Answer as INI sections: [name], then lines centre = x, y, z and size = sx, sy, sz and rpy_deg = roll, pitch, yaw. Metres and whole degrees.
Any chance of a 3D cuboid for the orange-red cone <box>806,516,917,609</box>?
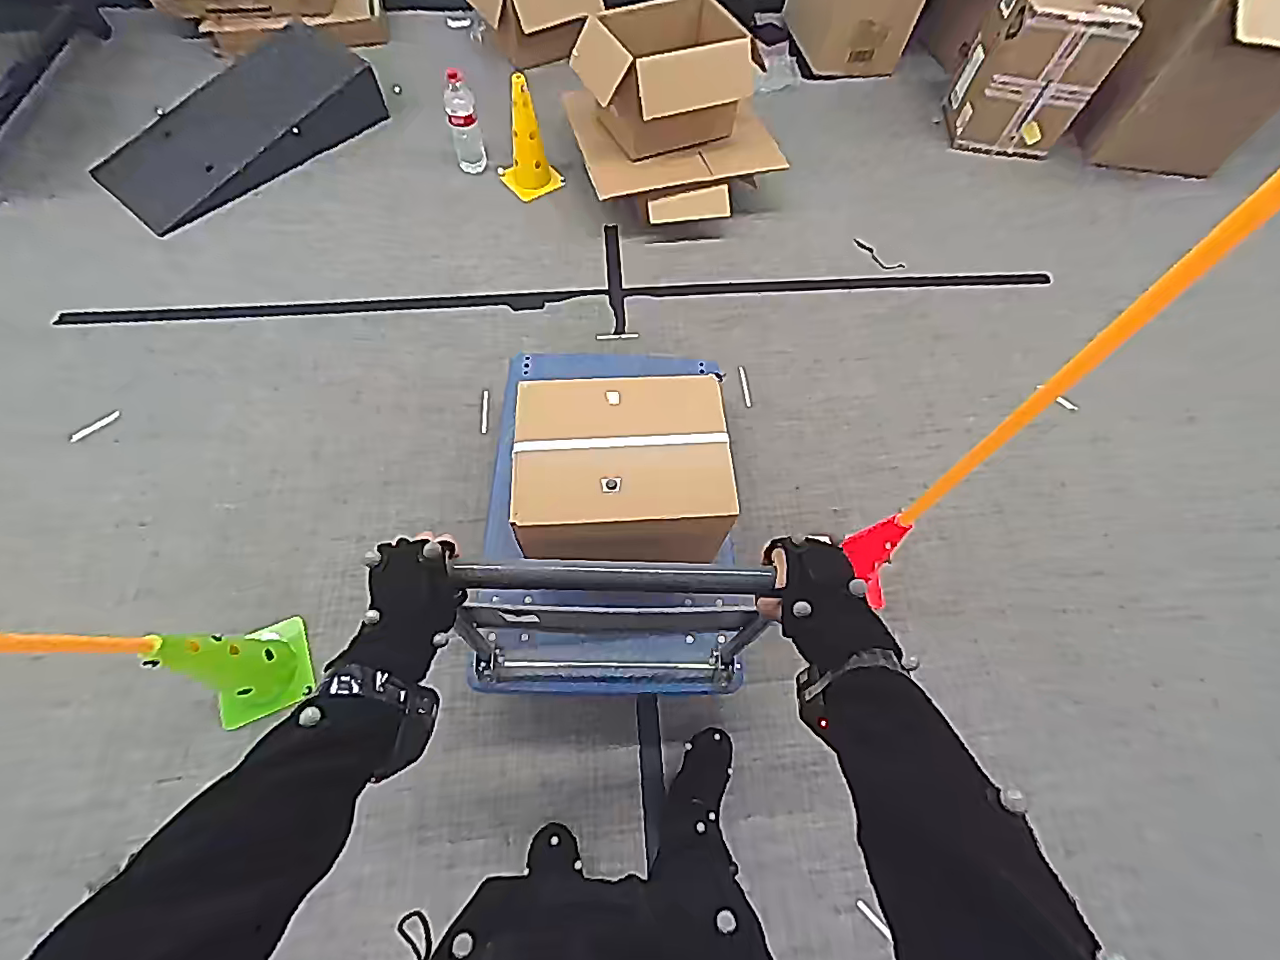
[orange-red cone]
centre = 0.551, 0.165, 1.278
size = 0.199, 0.360, 0.198
rpy_deg = 3, 64, -3
